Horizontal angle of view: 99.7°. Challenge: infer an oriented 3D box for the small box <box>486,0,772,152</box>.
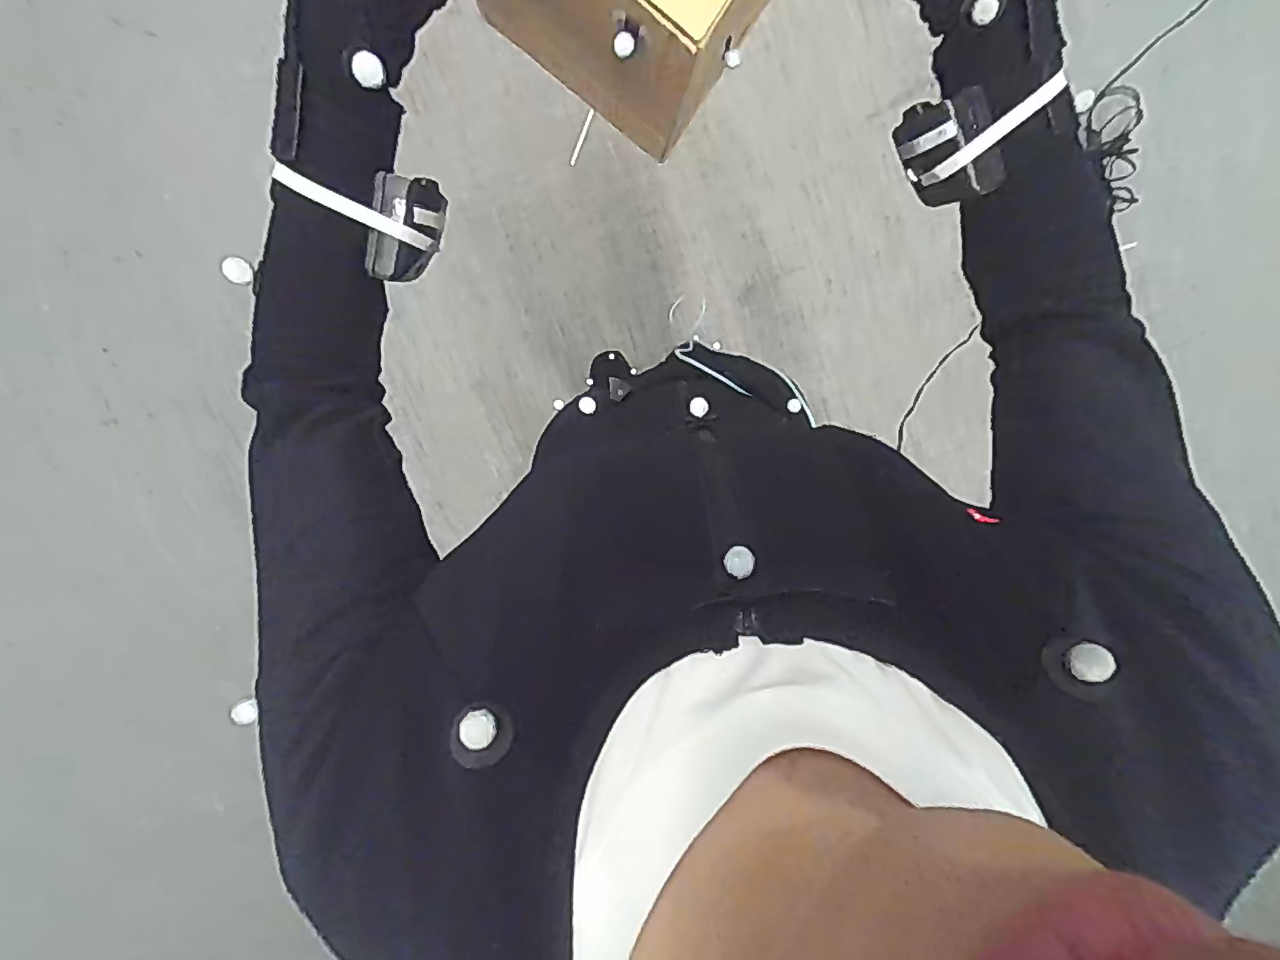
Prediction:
[{"bbox_3d":[0.001,-0.359,0.349,0.179,0.176,0.168,34,96,-11],"label":"small box"}]
